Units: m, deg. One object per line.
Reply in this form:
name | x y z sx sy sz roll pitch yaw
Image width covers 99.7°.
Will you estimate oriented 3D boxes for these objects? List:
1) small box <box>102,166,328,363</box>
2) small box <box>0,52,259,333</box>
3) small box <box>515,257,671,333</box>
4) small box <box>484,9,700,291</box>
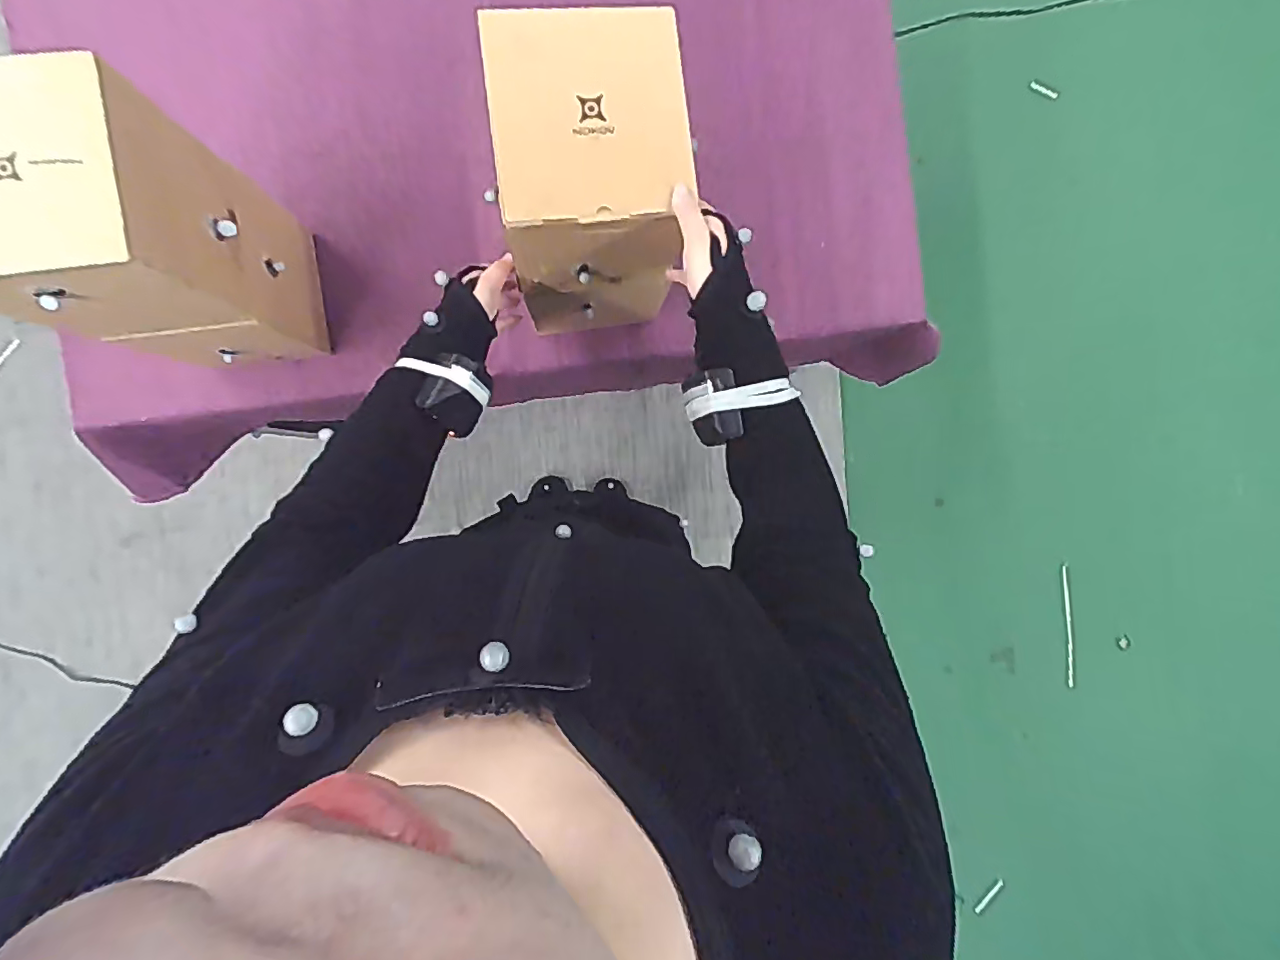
small box | -0.511 -0.246 0.662 0.168 0.176 0.179 -8 91 -5
small box | -0.499 -0.243 0.497 0.179 0.176 0.168 -8 92 -5
small box | -0.065 -0.297 0.693 0.179 0.176 0.168 -9 92 -5
small box | -0.050 -0.303 0.528 0.168 0.176 0.179 -7 92 -8
